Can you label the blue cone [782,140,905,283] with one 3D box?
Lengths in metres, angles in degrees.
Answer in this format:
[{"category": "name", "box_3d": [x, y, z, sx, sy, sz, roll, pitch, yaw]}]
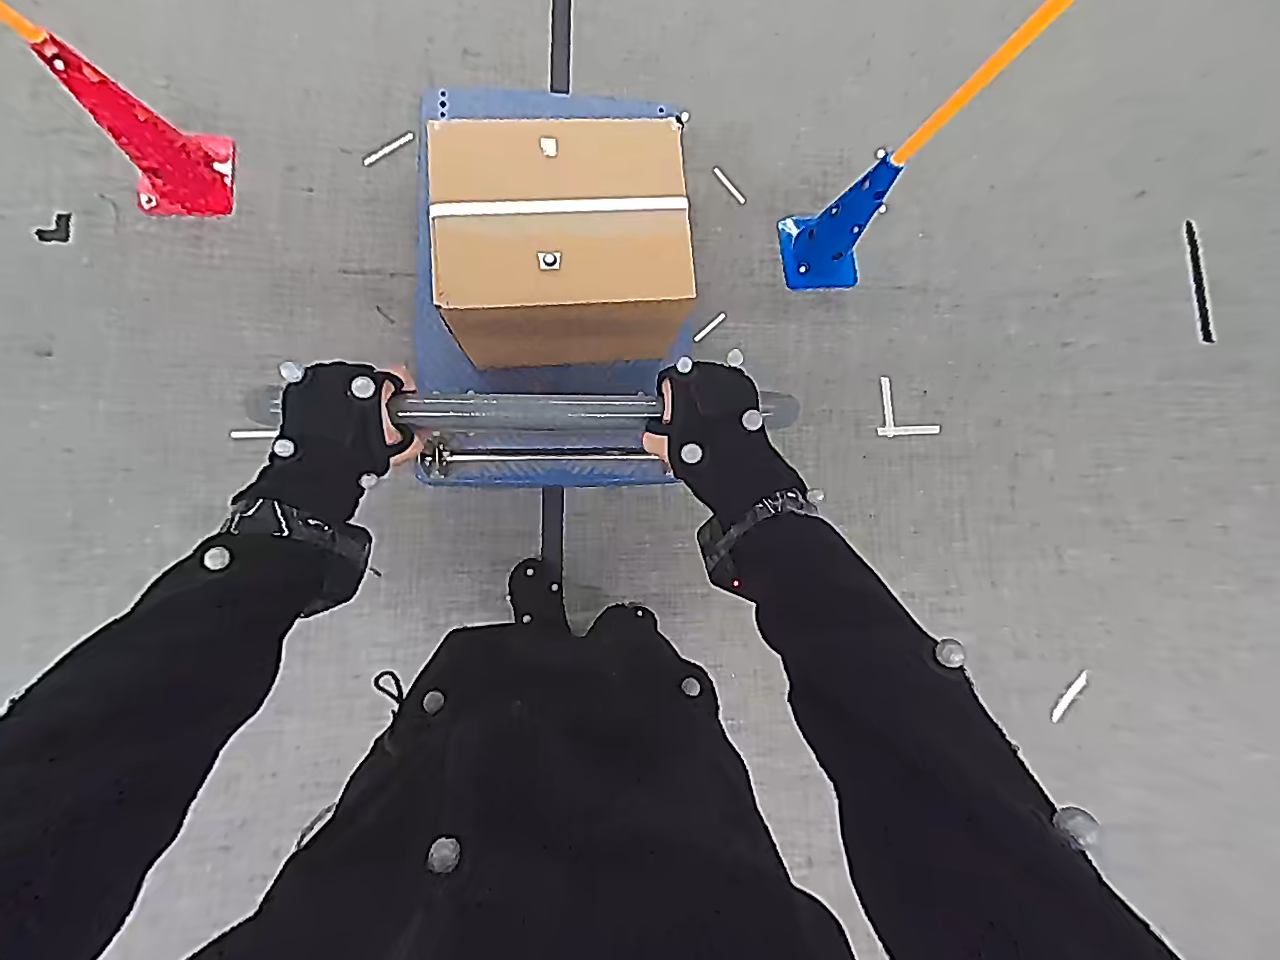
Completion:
[{"category": "blue cone", "box_3d": [0.495, -0.630, 1.262, 0.193, 0.380, 0.192, -4, 83, -7]}]
